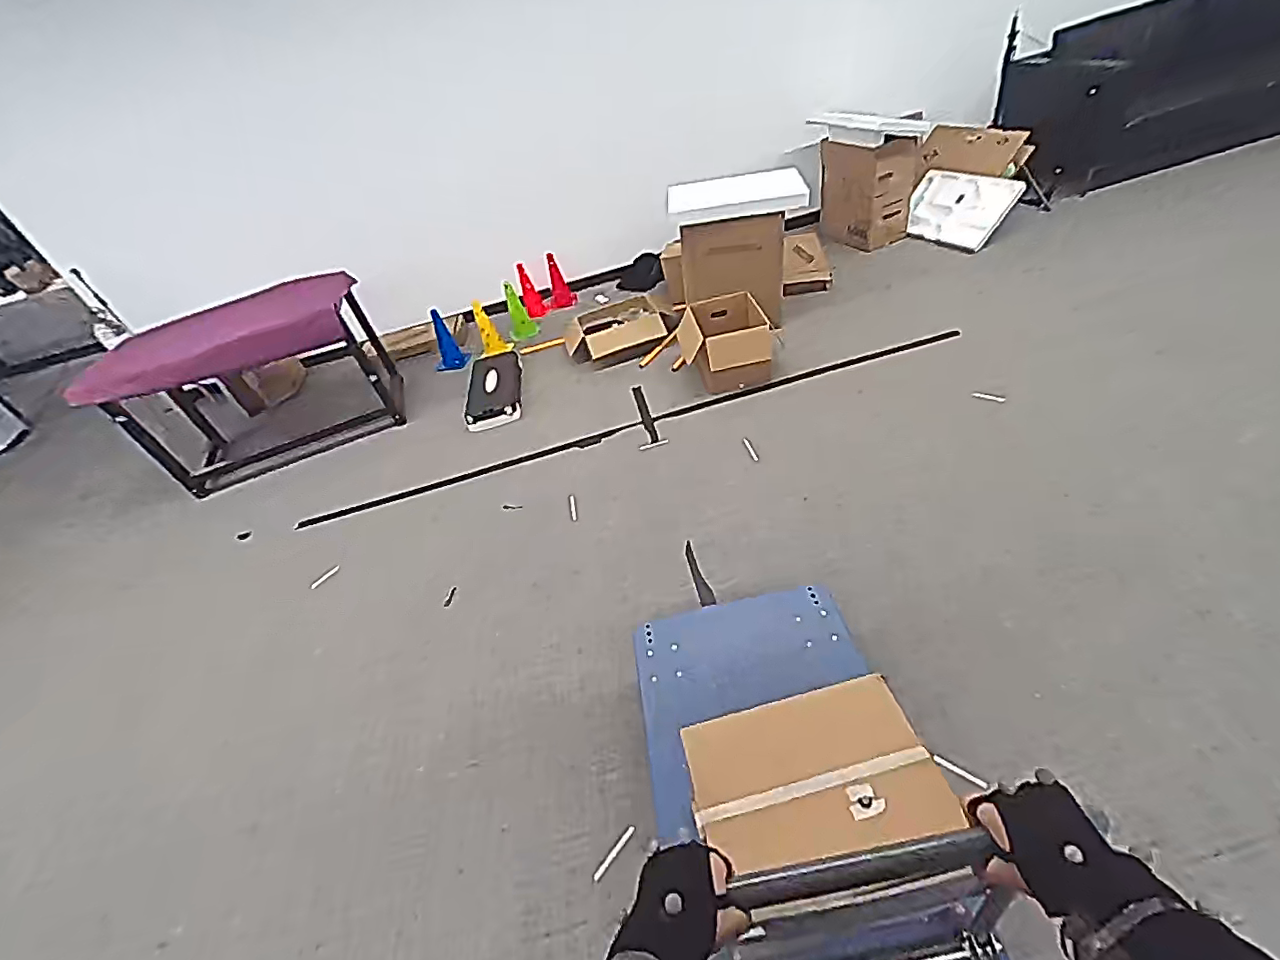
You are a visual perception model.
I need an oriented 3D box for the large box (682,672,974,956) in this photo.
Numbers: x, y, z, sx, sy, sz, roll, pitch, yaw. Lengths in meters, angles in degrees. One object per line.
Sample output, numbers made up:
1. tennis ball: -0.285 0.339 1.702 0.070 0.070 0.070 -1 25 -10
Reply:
1. large box: 0.325 0.635 1.035 0.408 0.320 0.320 -15 41 -2
